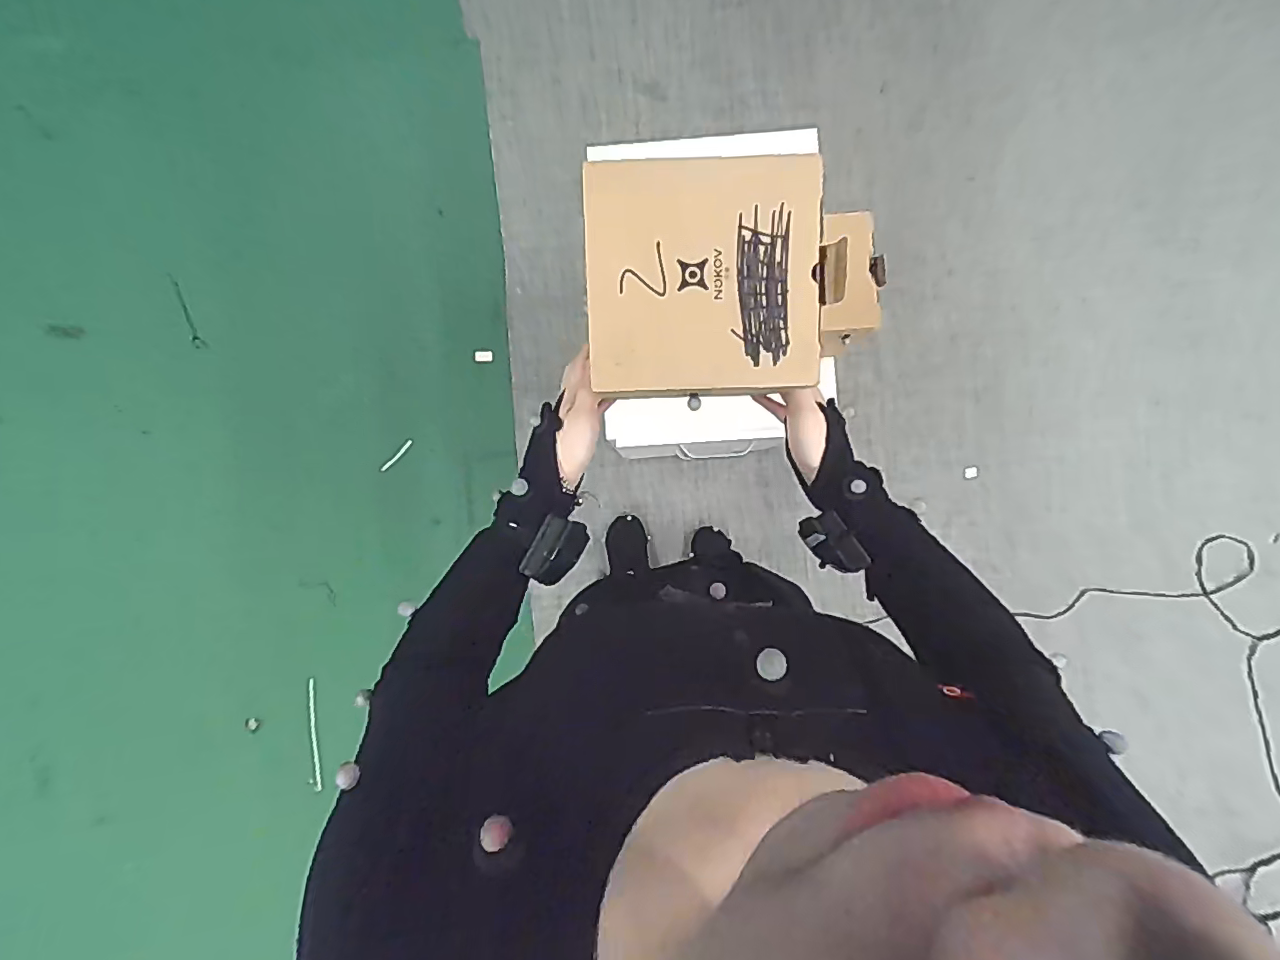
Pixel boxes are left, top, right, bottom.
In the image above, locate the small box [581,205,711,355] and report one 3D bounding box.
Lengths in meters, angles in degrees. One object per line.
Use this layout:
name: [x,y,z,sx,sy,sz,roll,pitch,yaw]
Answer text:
small box: [0.011,-0.297,0.837,0.179,0.176,0.168,-4,90,1]
